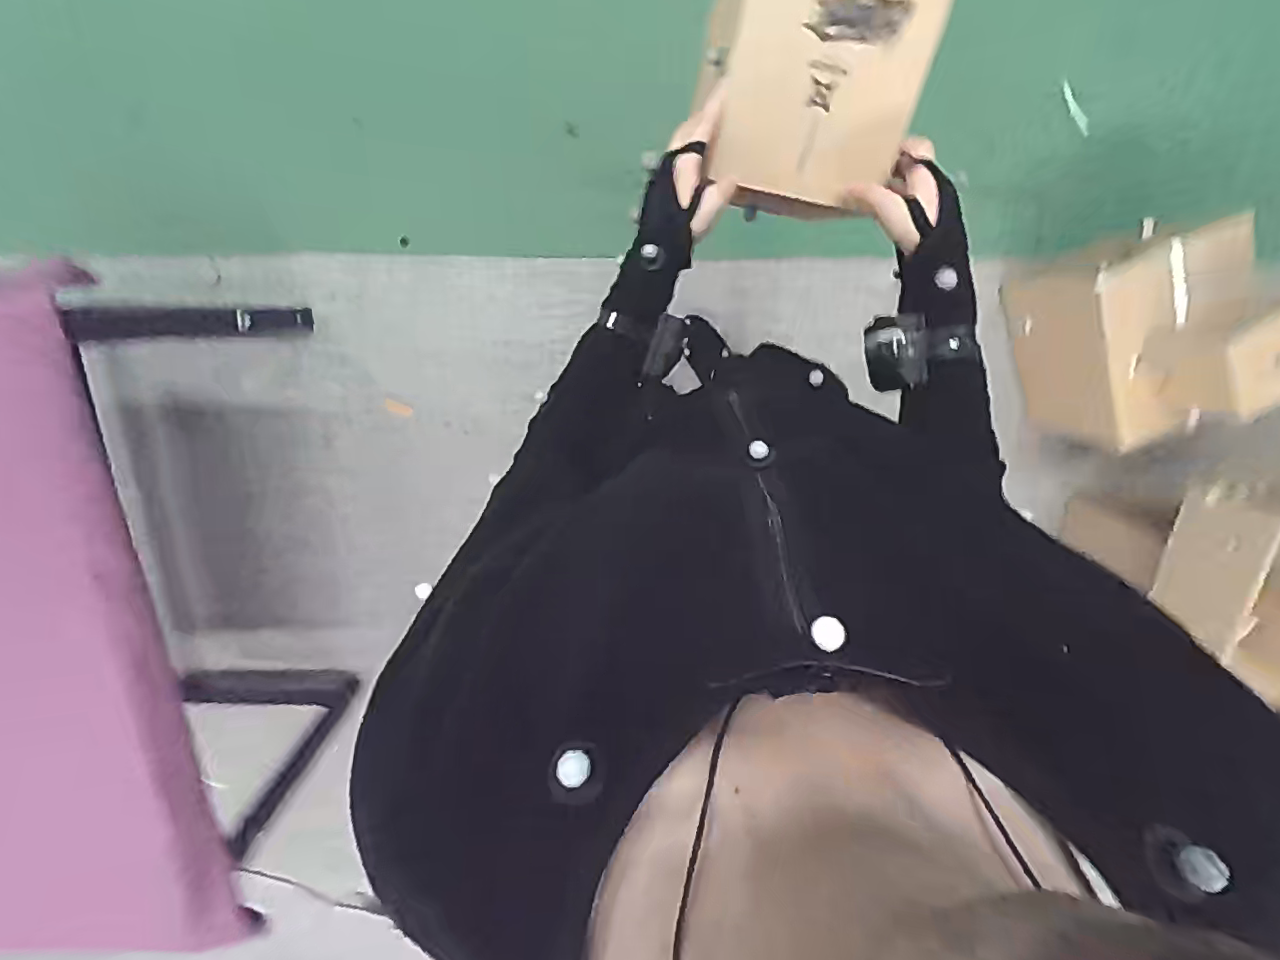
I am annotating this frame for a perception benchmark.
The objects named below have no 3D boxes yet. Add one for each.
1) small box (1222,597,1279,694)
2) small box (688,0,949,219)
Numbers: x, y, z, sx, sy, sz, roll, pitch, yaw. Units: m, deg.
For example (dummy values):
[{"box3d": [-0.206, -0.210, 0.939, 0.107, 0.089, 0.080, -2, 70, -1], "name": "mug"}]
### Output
[{"box3d": [1.425, 0.360, 1.146, 0.179, 0.176, 0.168, 1, 106, 0], "name": "small box"}, {"box3d": [0.151, -0.368, 0.528, 0.168, 0.176, 0.179, 8, 113, -9], "name": "small box"}]
